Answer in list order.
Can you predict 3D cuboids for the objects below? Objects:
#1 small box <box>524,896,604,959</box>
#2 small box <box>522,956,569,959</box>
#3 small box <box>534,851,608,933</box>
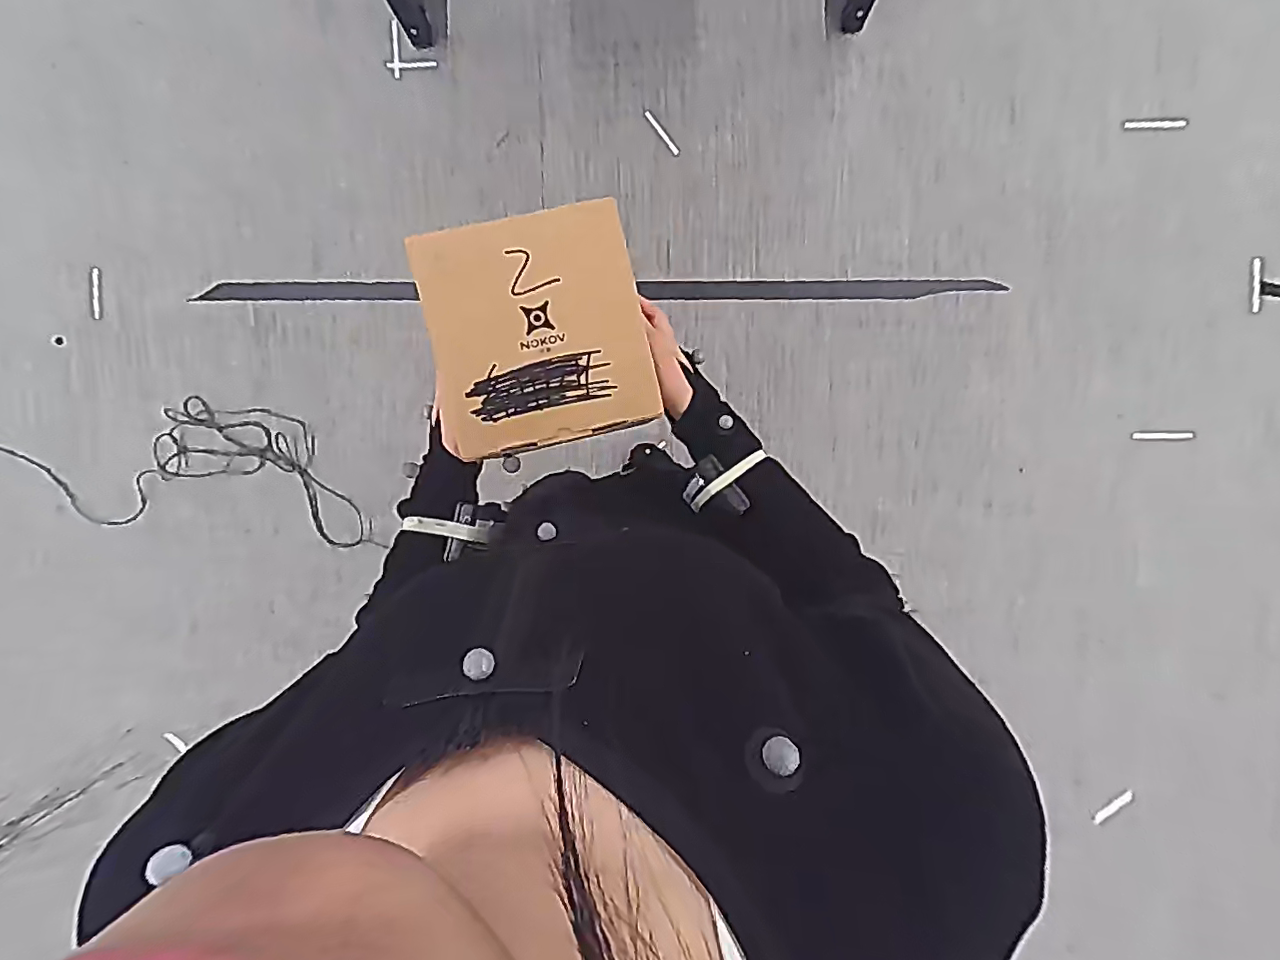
[{"bbox_3d":[-0.178,1.141,1.294,0.179,0.176,0.168,2,91,1],"label":"small box"},{"bbox_3d":[-0.189,1.150,1.131,0.168,0.176,0.179,1,91,1],"label":"small box"},{"bbox_3d":[-0.182,1.138,1.458,0.179,0.176,0.168,0,92,1],"label":"small box"}]
